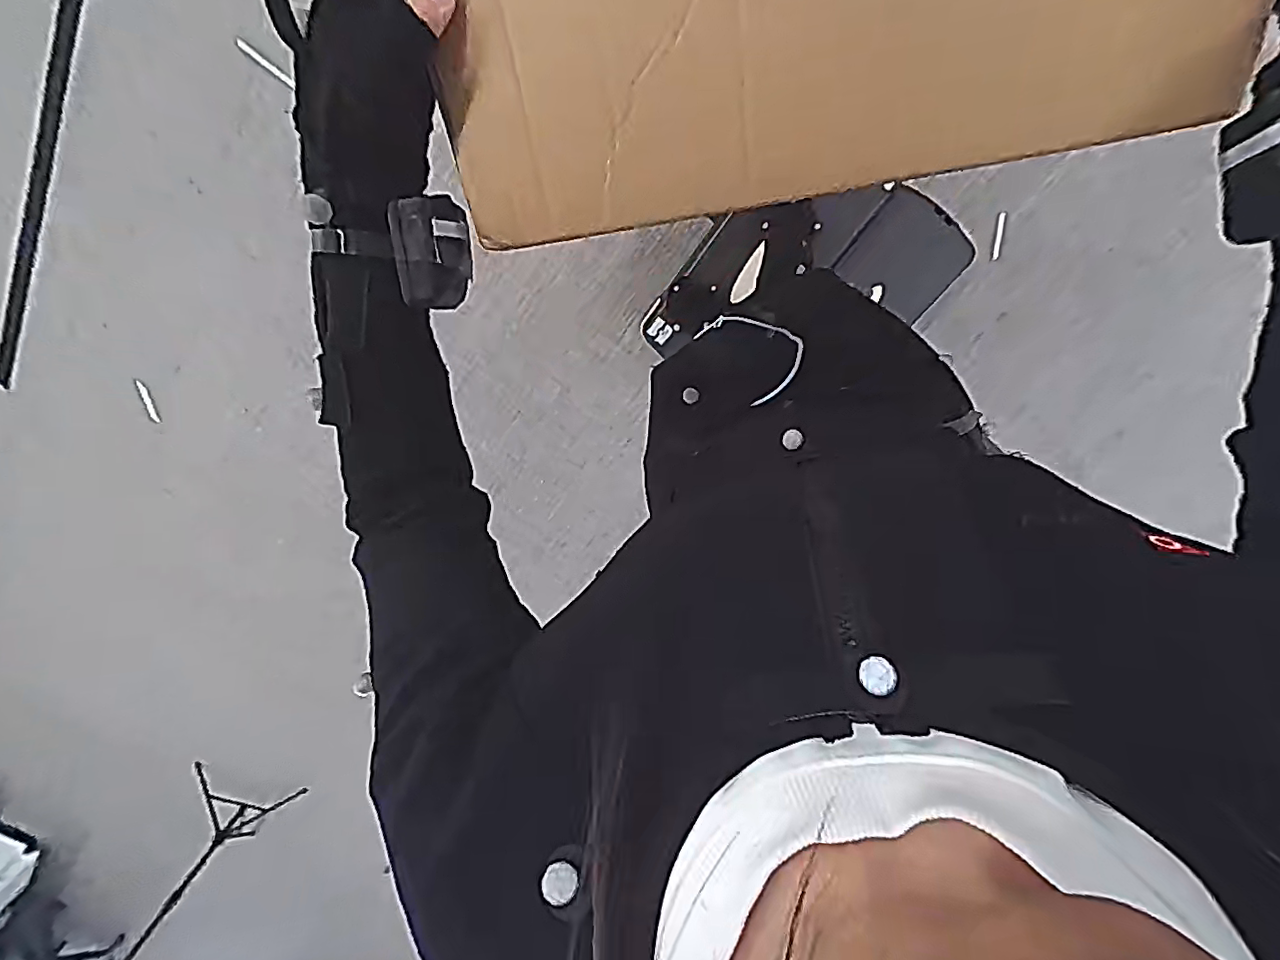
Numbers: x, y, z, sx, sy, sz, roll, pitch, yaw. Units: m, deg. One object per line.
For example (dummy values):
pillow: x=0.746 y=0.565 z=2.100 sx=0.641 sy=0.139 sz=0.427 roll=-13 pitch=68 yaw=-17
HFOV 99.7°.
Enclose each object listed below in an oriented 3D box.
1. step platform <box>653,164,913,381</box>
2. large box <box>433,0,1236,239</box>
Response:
step platform: x=0.326 y=-0.585 z=1.338 sx=0.286 sy=0.204 sz=0.684 roll=34 pitch=112 yaw=-11
large box: x=0.089 y=-0.379 z=0.374 sx=0.408 sy=0.320 sz=0.320 roll=-6 pitch=119 yaw=9
